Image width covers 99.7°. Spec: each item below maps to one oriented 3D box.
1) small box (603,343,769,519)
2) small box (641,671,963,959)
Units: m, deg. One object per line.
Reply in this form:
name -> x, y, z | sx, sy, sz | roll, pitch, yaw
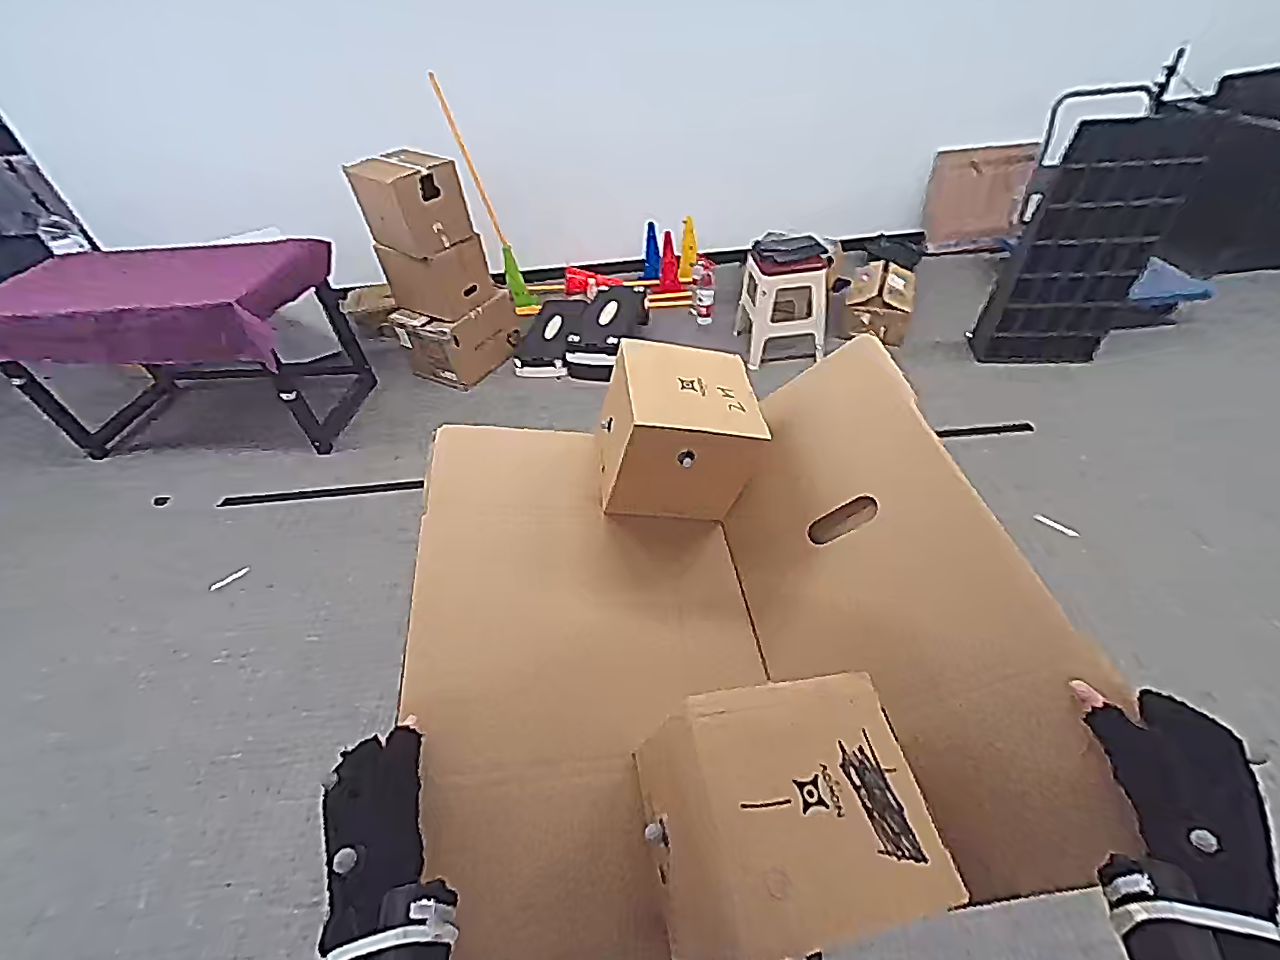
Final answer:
small box -> 0.047, -0.061, 0.743 | 0.179, 0.176, 0.168 | 6, 48, -15
small box -> 0.115, 0.281, 0.463 | 0.179, 0.176, 0.168 | -1, 51, -18
